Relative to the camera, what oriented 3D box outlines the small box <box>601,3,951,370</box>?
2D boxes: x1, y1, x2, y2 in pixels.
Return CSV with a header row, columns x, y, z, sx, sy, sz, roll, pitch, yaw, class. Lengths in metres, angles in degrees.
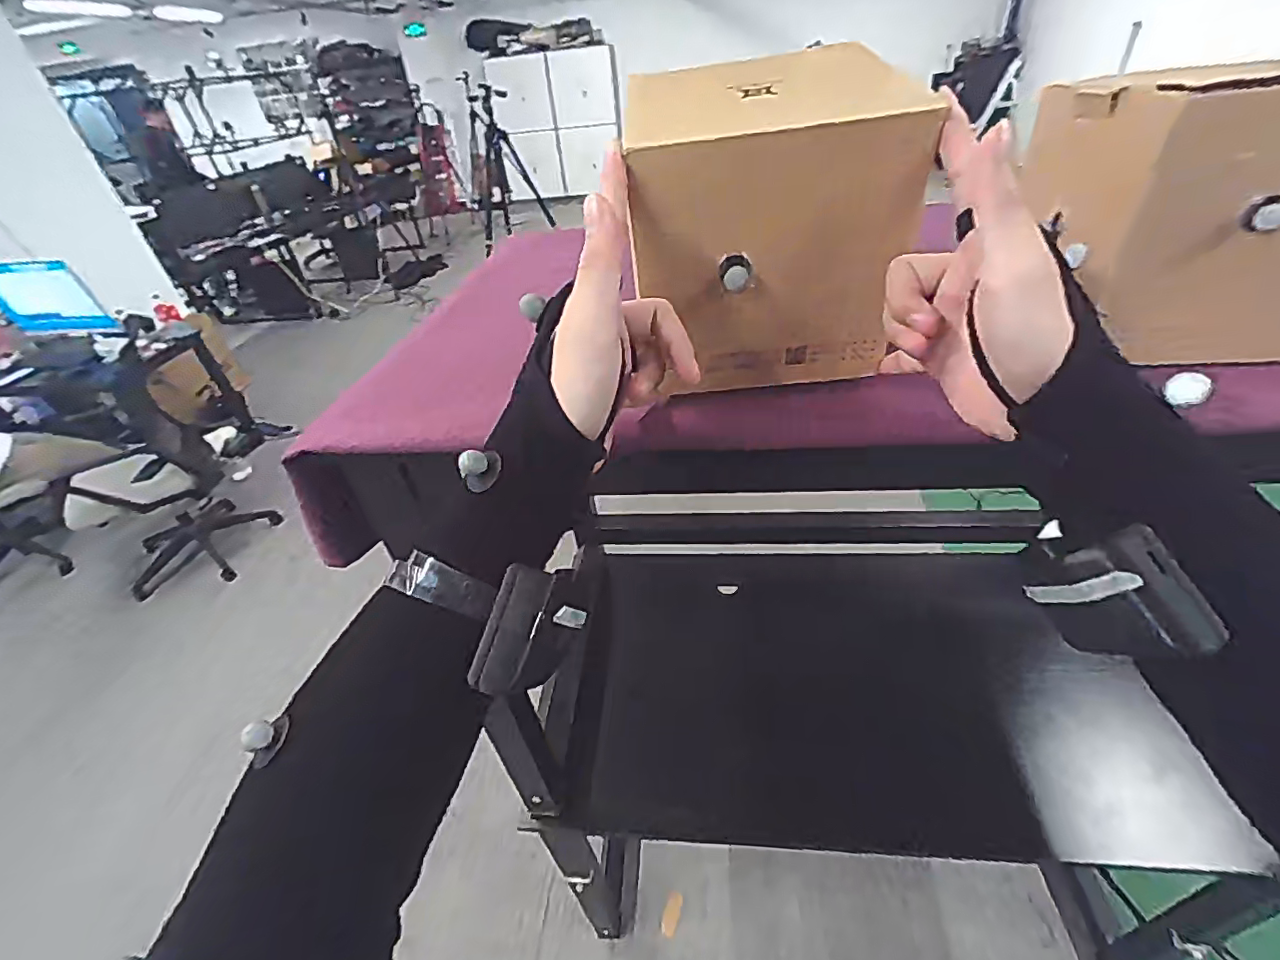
x,y,z,sx,sy,sz,roll,pitch,yaw,class
0.074,-0.187,0.365,0.168,0.176,0.179,-3,48,5,small box
